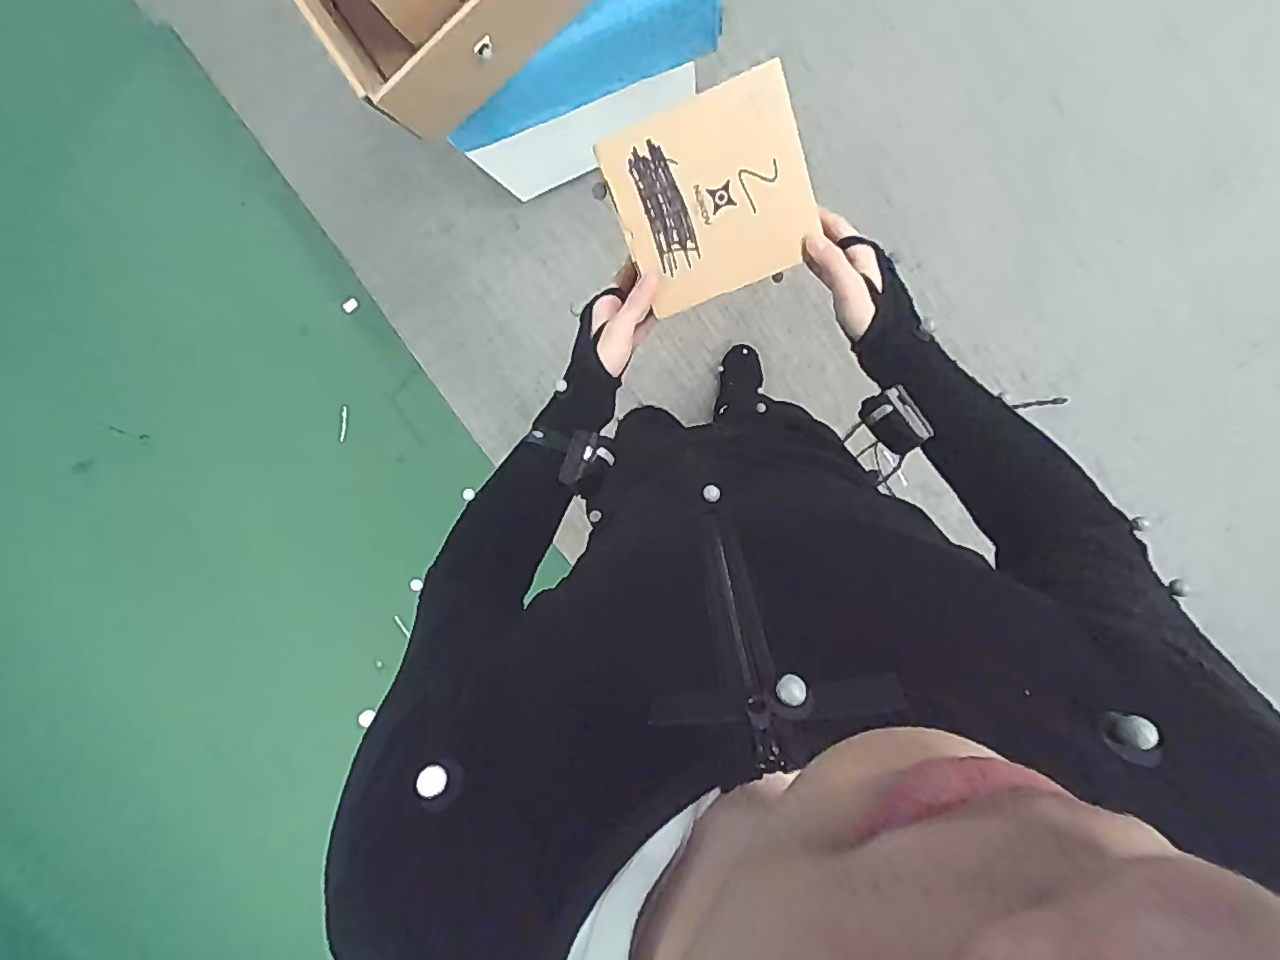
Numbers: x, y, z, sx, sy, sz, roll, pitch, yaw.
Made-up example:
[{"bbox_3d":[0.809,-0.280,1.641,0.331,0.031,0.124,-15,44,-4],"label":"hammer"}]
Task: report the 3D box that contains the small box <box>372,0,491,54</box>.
[{"bbox_3d":[-0.343,-0.780,0.776,0.168,0.176,0.179,-33,94,13],"label":"small box"}]
